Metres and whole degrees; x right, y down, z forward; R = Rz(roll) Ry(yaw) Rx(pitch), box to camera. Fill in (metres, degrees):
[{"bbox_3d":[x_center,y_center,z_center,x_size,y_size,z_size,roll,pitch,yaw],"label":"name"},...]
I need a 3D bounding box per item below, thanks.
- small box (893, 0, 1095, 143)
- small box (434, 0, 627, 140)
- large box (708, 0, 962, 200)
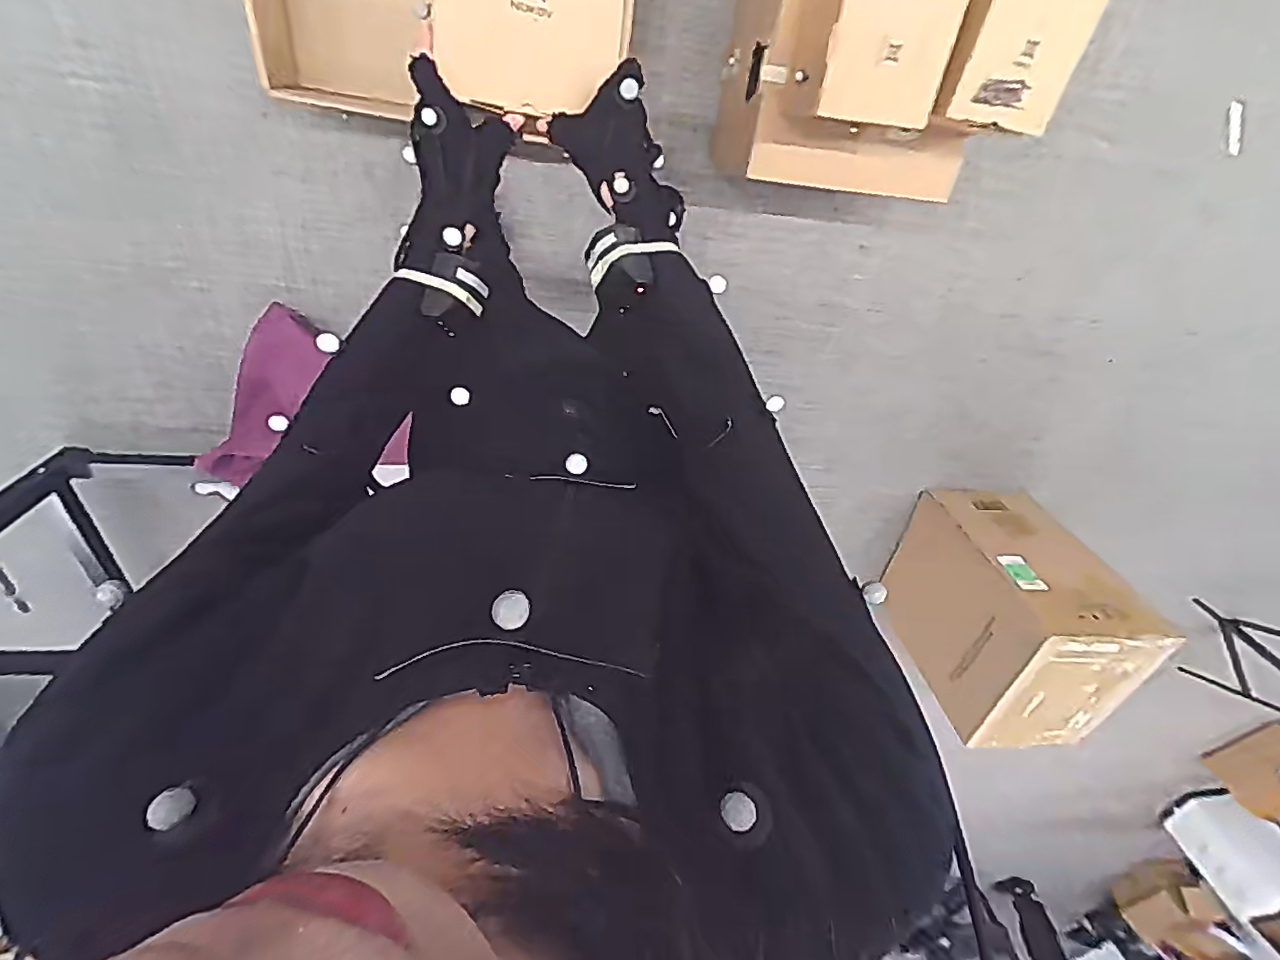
[{"bbox_3d":[0.529,-0.646,0.843,0.168,0.176,0.179,6,122,-11],"label":"small box"},{"bbox_3d":[-0.115,-0.453,0.534,0.168,0.176,0.179,-1,117,-20],"label":"small box"},{"bbox_3d":[0.376,-0.750,1.049,0.408,0.320,0.320,1,125,-10],"label":"large box"}]
